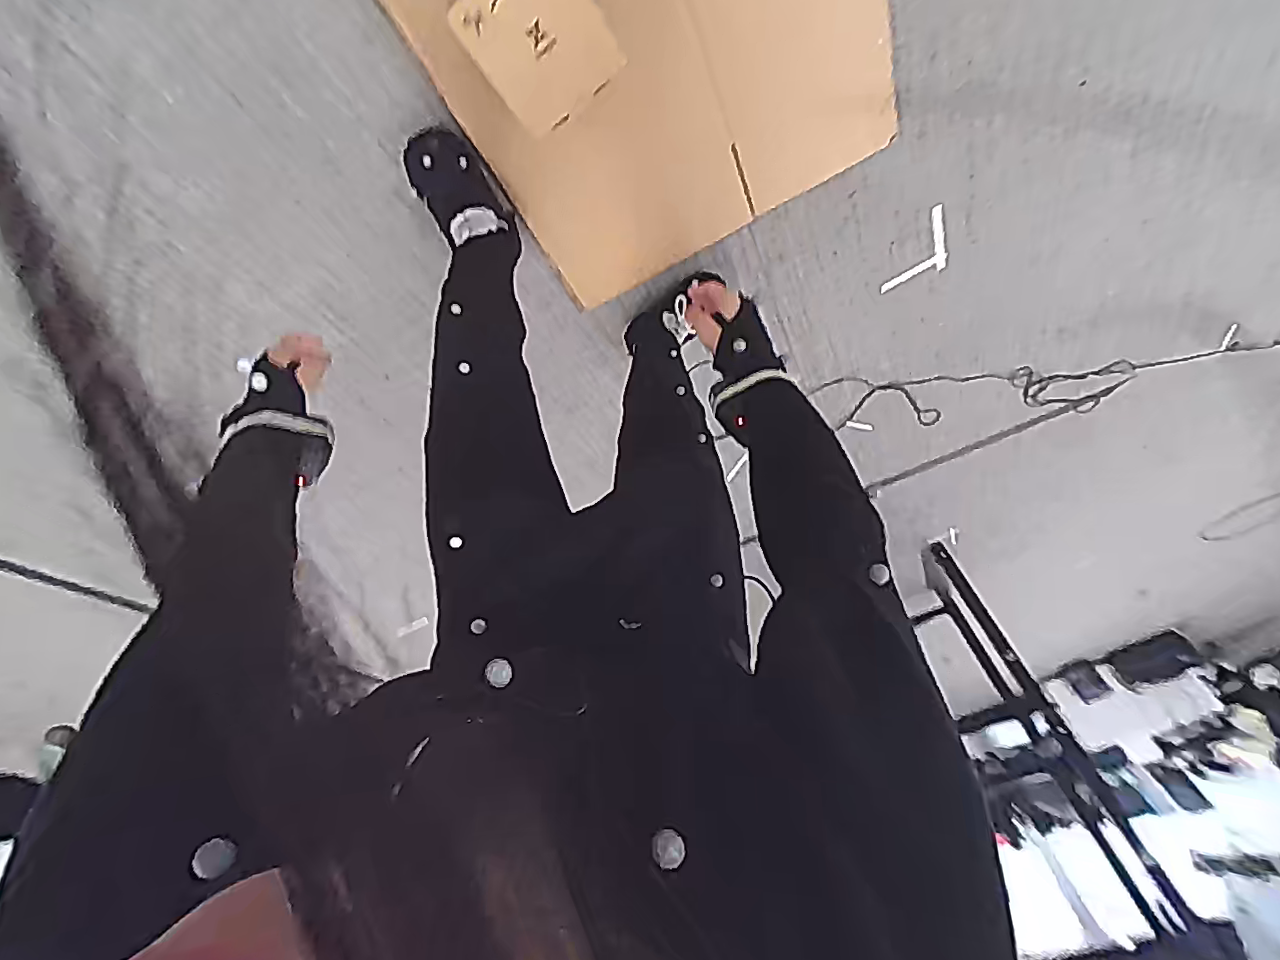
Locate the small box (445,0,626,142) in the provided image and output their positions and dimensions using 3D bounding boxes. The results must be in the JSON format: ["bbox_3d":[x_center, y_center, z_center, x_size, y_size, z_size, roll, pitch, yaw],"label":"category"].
[{"bbox_3d":[-0.144,-0.625,0.747,0.168,0.176,0.179,-30,138,18],"label":"small box"}]
